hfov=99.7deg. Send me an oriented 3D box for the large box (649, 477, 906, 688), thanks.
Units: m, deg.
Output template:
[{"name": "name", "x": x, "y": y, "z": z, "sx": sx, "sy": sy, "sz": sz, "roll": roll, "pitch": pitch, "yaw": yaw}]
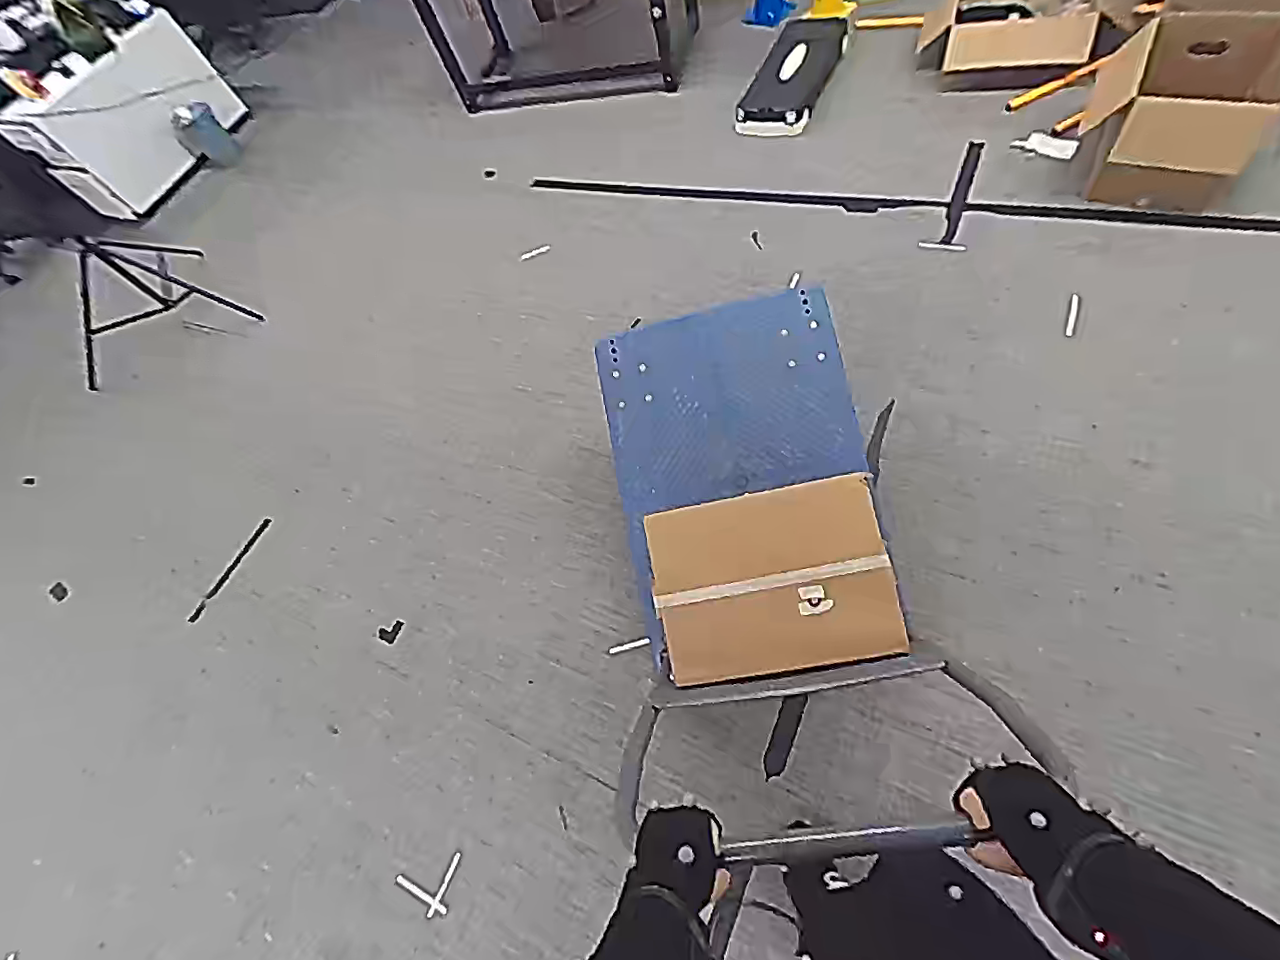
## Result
[{"name": "large box", "x": 0.259, "y": 0.205, "z": 1.118, "sx": 0.408, "sy": 0.320, "sz": 0.320, "roll": -13, "pitch": 82, "yaw": 7}]
